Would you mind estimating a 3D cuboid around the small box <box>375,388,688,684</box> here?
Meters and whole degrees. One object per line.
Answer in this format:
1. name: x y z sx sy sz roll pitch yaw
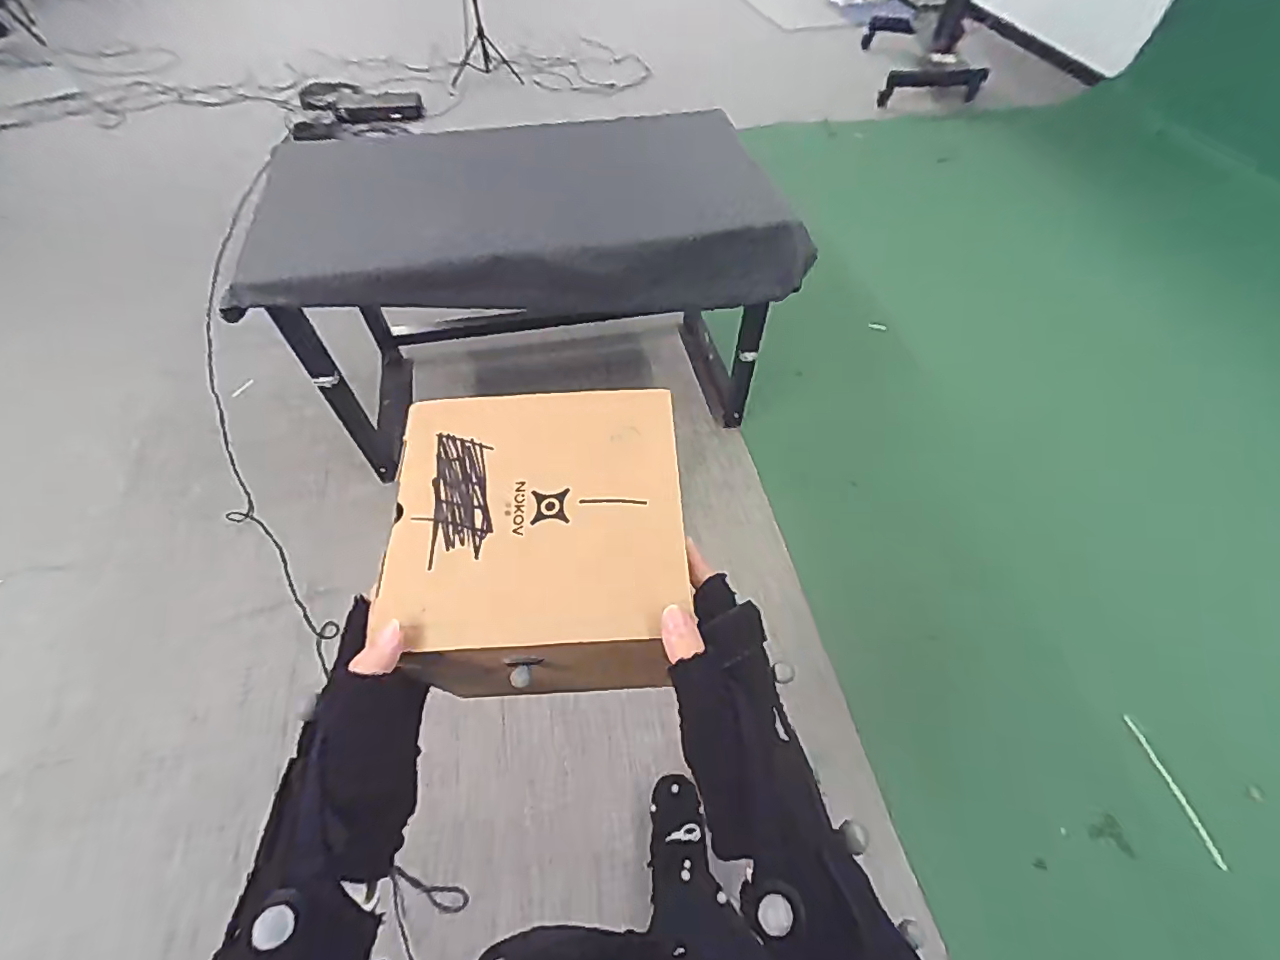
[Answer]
1. small box: -0.061 0.051 0.404 0.179 0.176 0.168 -2 60 -1
